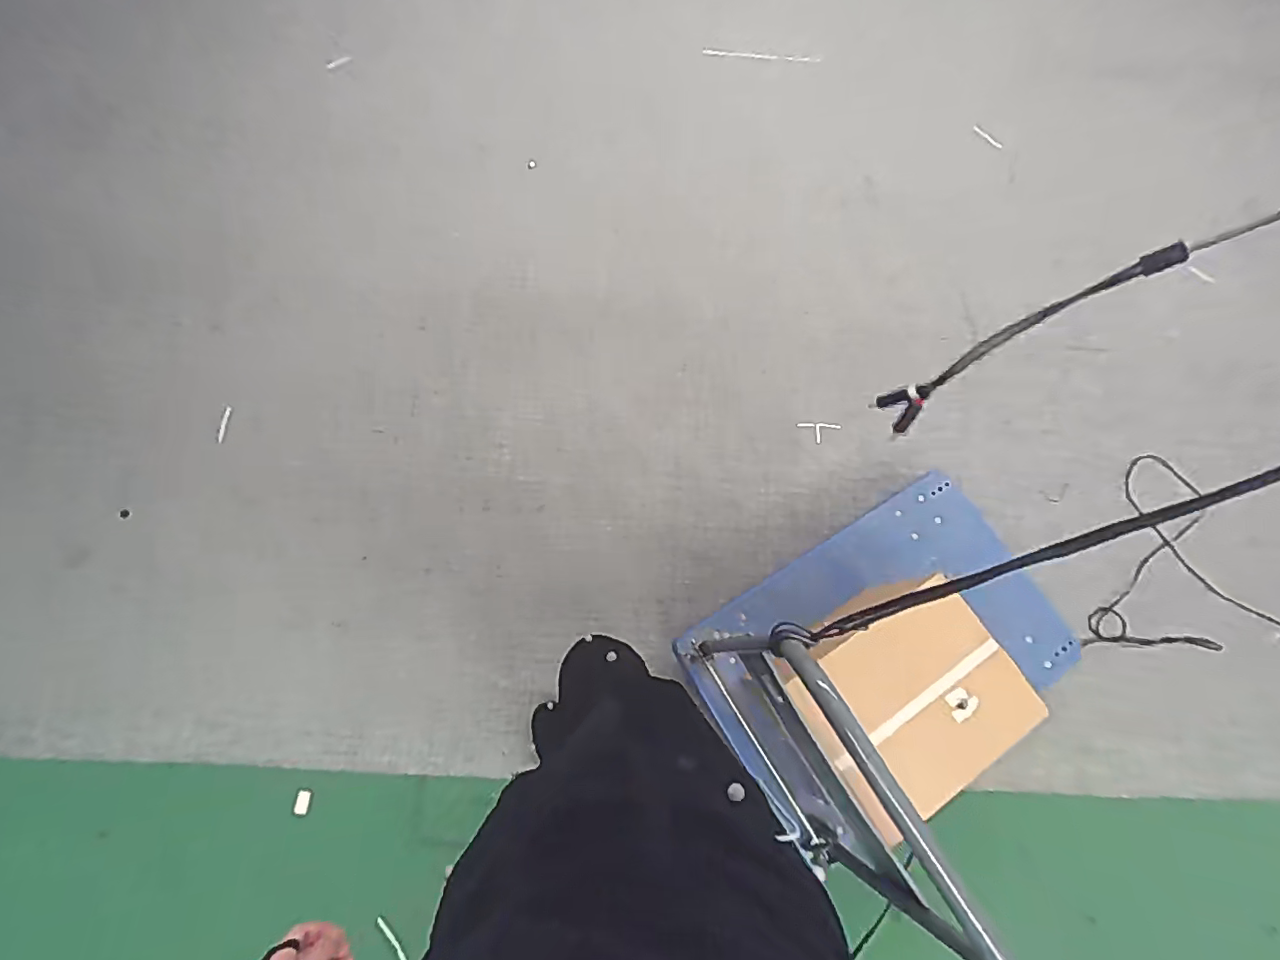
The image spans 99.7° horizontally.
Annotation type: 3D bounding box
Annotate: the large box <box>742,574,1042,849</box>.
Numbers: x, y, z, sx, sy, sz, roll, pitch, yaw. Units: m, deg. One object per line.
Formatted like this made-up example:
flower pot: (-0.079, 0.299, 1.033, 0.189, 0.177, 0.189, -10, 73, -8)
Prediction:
large box: (0.488, 0.451, 1.128, 0.408, 0.320, 0.320, -30, 78, -12)
